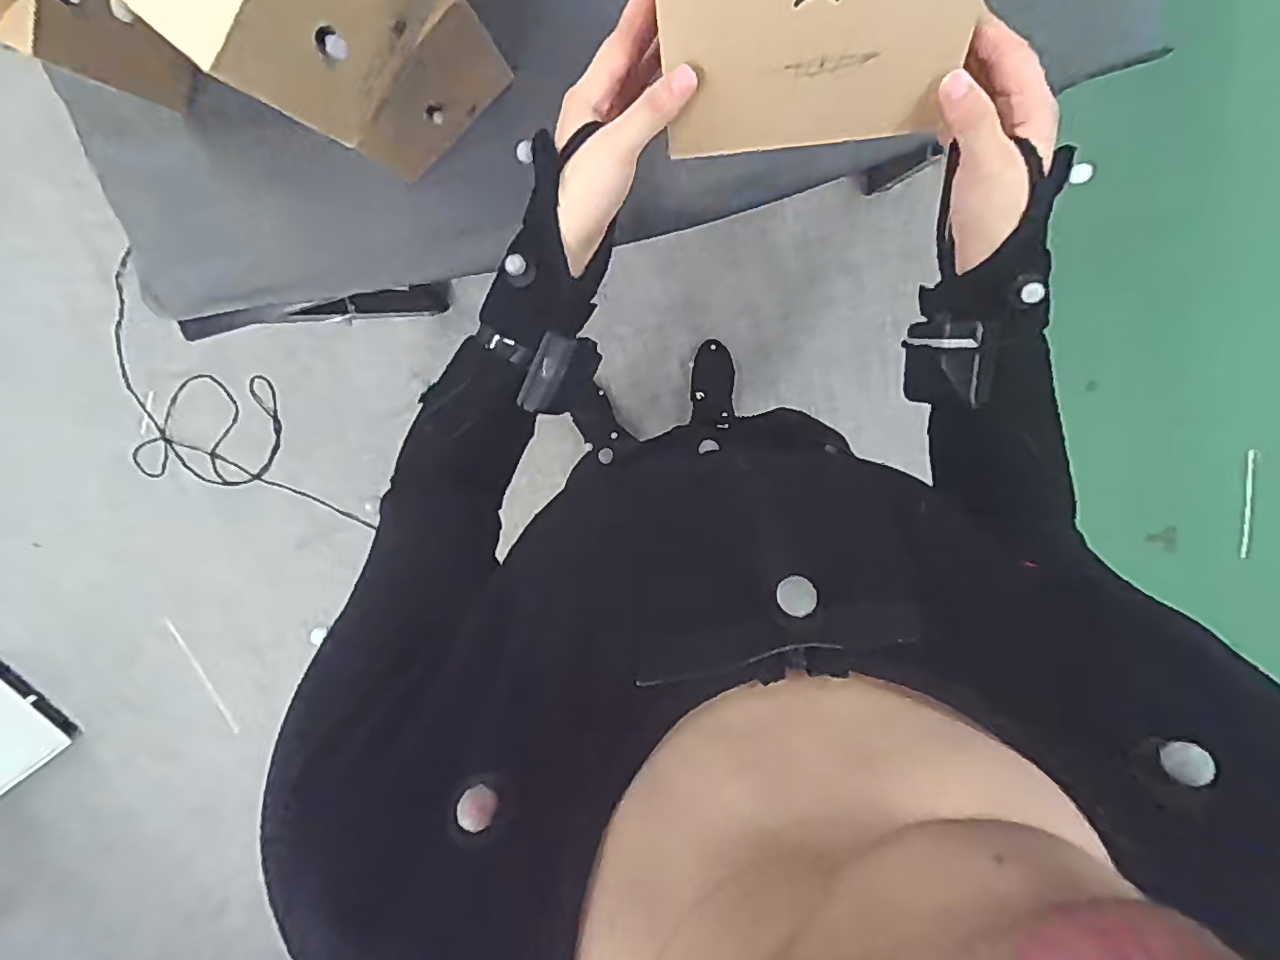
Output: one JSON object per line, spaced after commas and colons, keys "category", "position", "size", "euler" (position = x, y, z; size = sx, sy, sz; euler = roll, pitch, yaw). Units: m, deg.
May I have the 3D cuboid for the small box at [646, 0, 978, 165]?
{"category": "small box", "position": [0.087, -0.315, 0.296], "size": [0.168, 0.176, 0.179], "euler": [-1, 153, 10]}

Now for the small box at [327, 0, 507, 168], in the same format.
{"category": "small box", "position": [-0.261, -0.443, 0.533], "size": [0.168, 0.176, 0.179], "euler": [-37, 101, 13]}

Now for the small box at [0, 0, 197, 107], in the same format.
{"category": "small box", "position": [-0.582, -0.512, 0.533], "size": [0.179, 0.176, 0.168], "euler": [26, 108, -5]}

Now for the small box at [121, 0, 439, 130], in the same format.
{"category": "small box", "position": [-0.274, -0.388, 0.381], "size": [0.179, 0.176, 0.168], "euler": [40, 106, -8]}
